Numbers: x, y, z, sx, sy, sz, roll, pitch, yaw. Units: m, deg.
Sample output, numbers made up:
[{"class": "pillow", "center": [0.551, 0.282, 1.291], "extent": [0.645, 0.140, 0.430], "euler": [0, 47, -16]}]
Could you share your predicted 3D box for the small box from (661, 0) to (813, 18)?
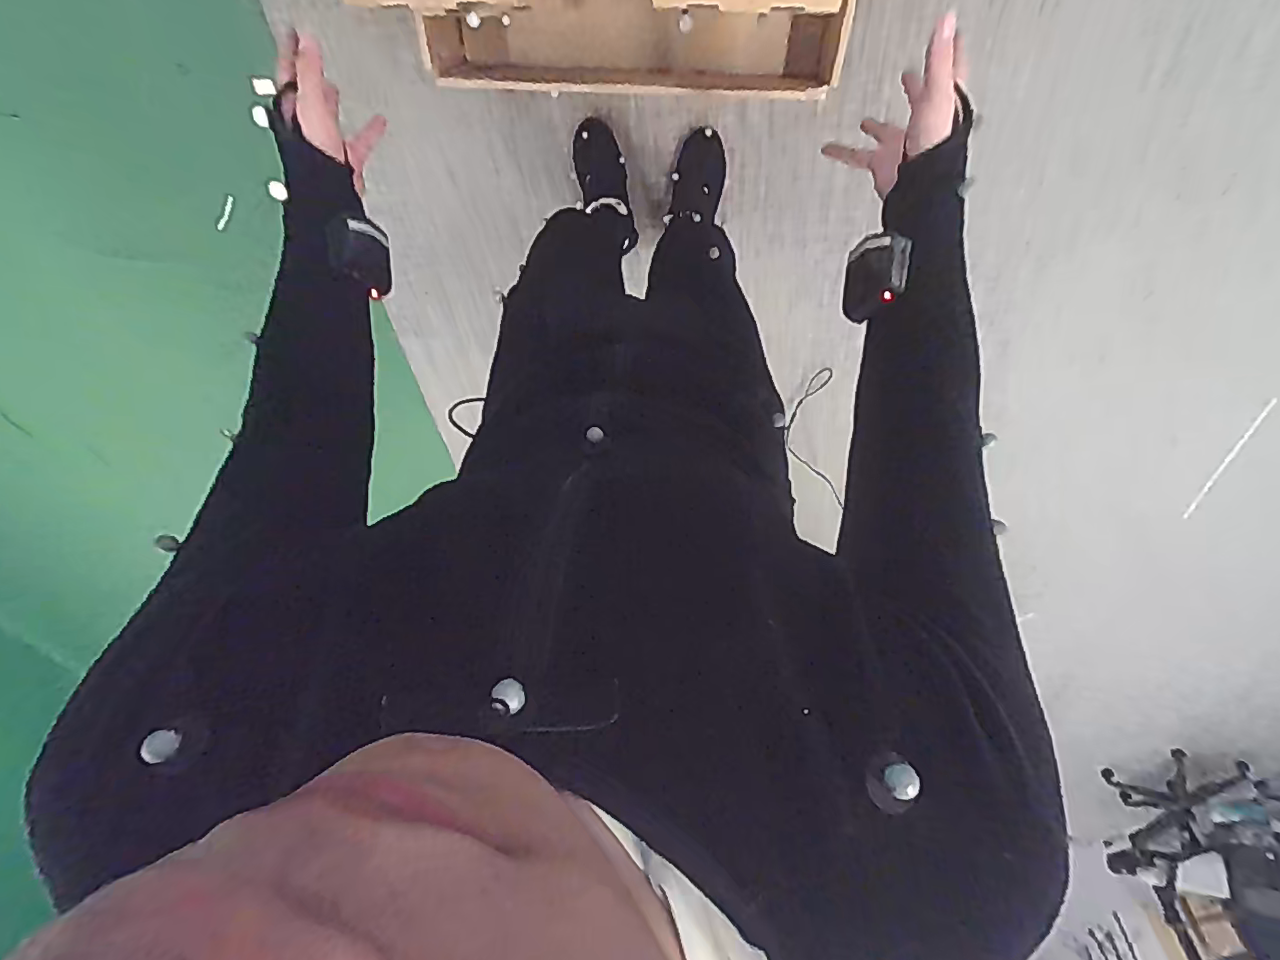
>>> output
[{"class": "small box", "center": [0.114, -0.624, 0.591], "extent": [0.168, 0.176, 0.179], "euler": [4, 130, 3]}]

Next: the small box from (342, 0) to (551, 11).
[{"class": "small box", "center": [-0.182, -0.540, 0.485], "extent": [0.168, 0.176, 0.179], "euler": [3, 131, 5]}]

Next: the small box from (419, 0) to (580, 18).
[{"class": "small box", "center": [-0.168, -0.644, 0.614], "extent": [0.168, 0.176, 0.179], "euler": [2, 130, 5]}]
